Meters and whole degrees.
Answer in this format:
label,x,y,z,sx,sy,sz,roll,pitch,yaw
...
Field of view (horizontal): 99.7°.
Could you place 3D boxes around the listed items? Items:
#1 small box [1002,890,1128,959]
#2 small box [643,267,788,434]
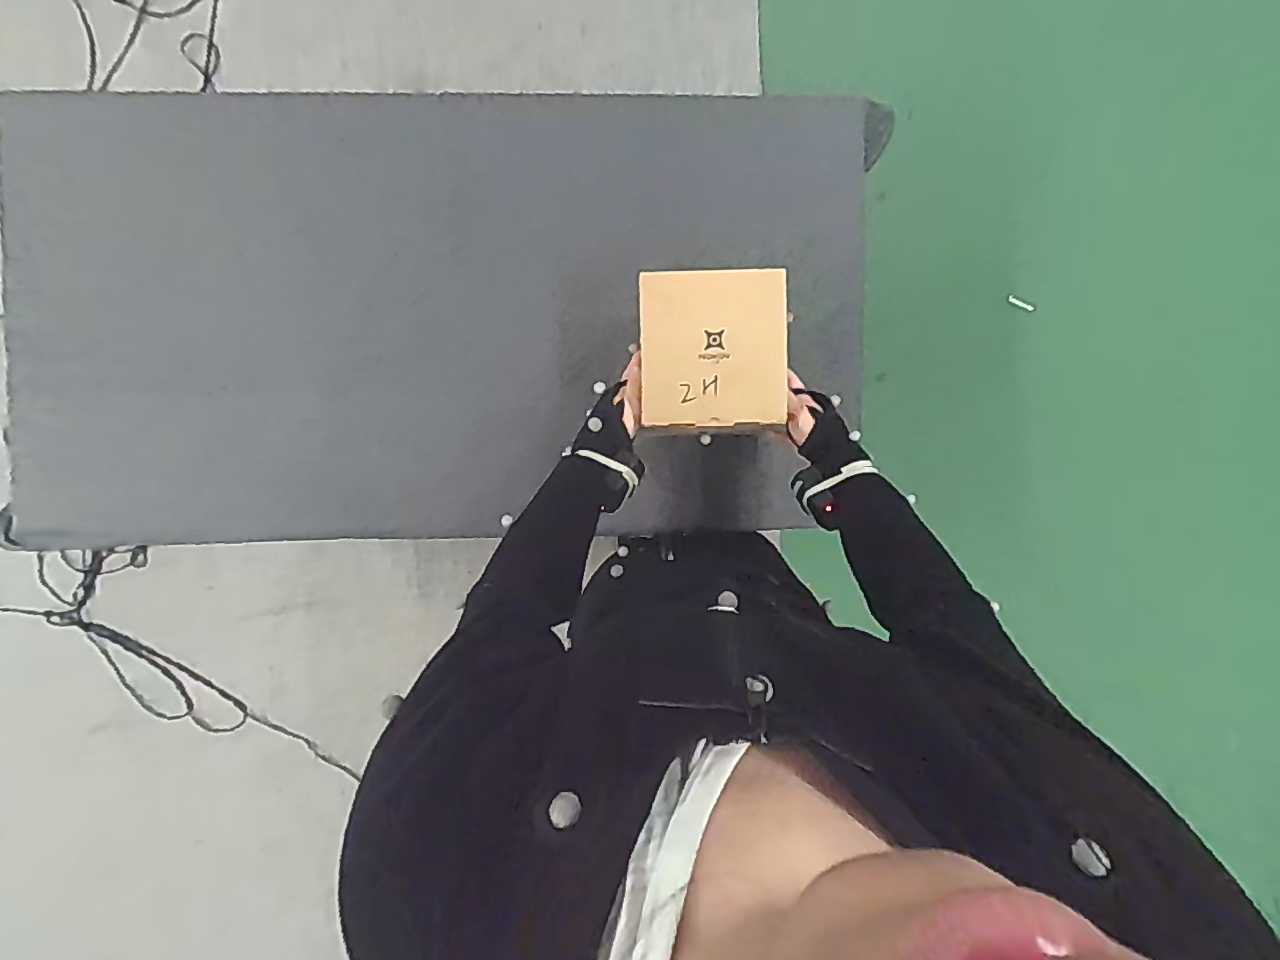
label,x,y,z,sx,sy,sz,roll,pitch,yaw
small box,1.014,1.128,1.299,0.179,0.176,0.168,-3,93,0
small box,0.088,-0.153,0.691,0.168,0.176,0.179,-1,91,3
